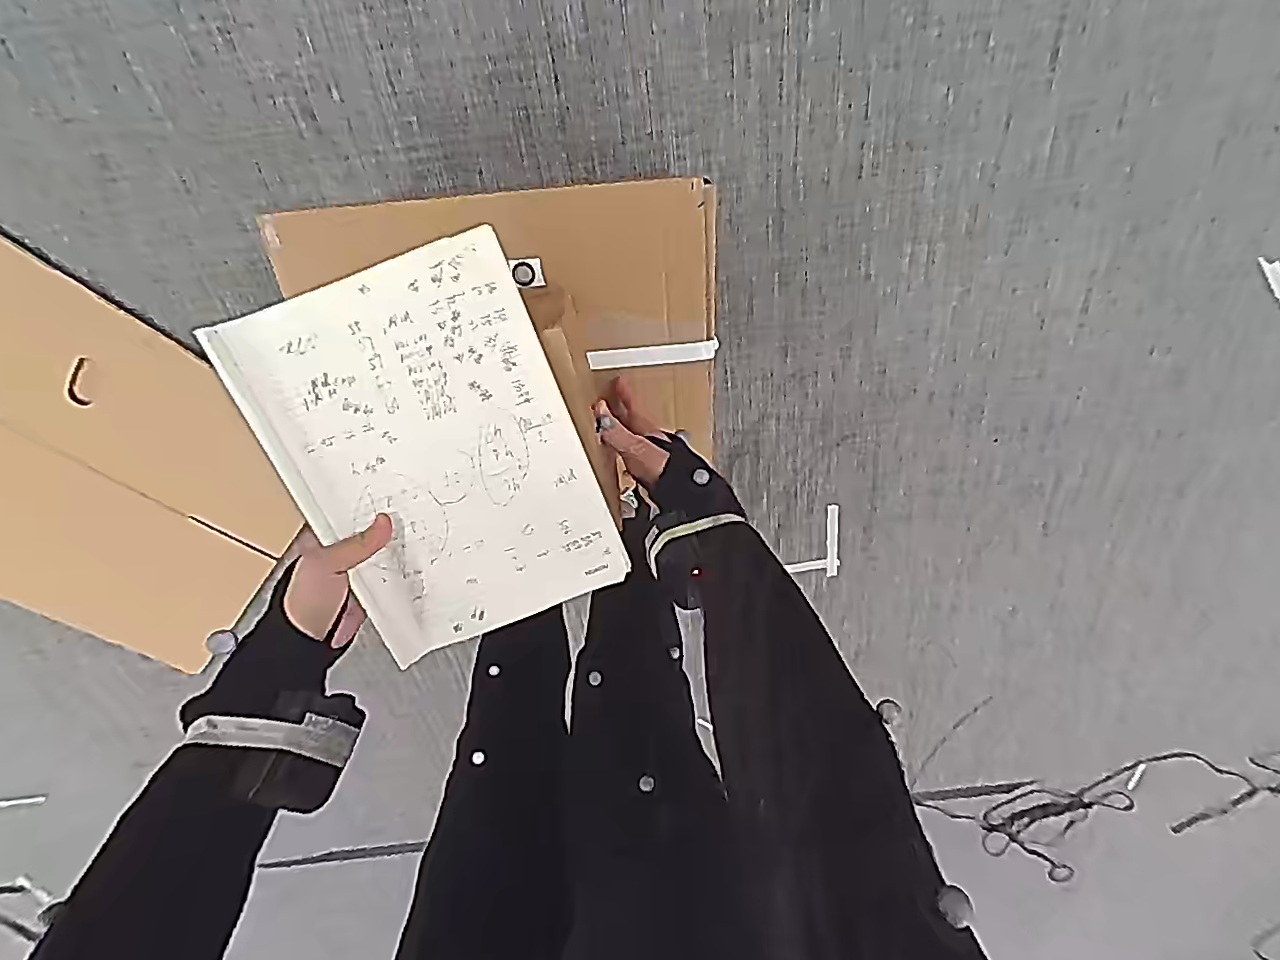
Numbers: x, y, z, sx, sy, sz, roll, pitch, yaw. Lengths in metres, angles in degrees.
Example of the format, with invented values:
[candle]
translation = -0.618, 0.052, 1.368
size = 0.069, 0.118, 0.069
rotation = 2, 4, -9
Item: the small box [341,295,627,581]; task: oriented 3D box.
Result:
[small box]
translation = -0.114, -0.046, 0.476
size = 0.168, 0.176, 0.179
rotation = -16, 117, 1
